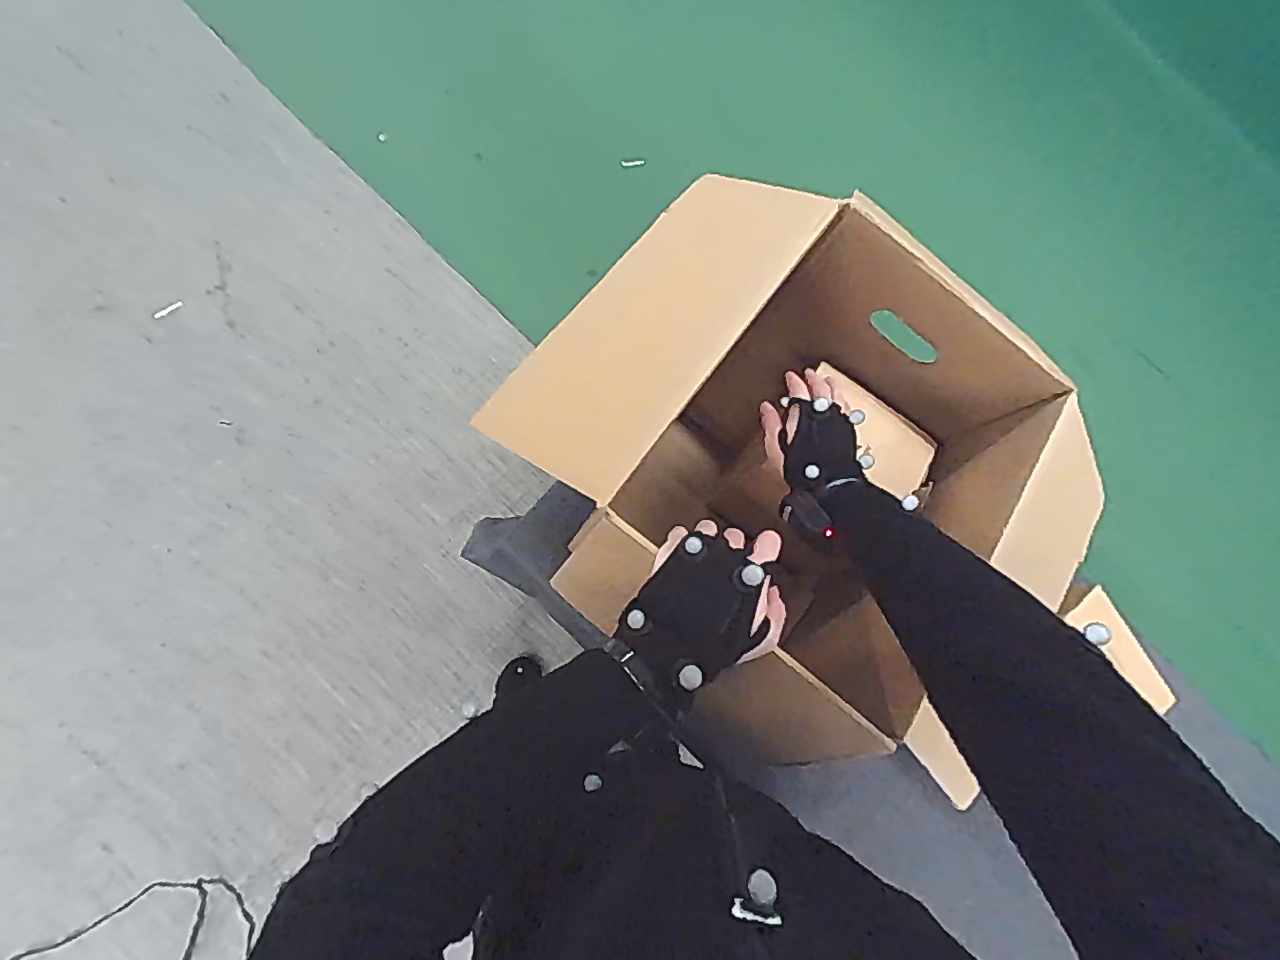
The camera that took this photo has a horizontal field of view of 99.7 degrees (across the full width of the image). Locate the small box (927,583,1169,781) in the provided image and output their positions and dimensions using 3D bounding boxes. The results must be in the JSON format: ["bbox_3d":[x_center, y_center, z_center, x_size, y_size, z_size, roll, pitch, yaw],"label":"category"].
[{"bbox_3d":[0.523,0.255,0.724,0.179,0.176,0.168,-29,86,-17],"label":"small box"}]
